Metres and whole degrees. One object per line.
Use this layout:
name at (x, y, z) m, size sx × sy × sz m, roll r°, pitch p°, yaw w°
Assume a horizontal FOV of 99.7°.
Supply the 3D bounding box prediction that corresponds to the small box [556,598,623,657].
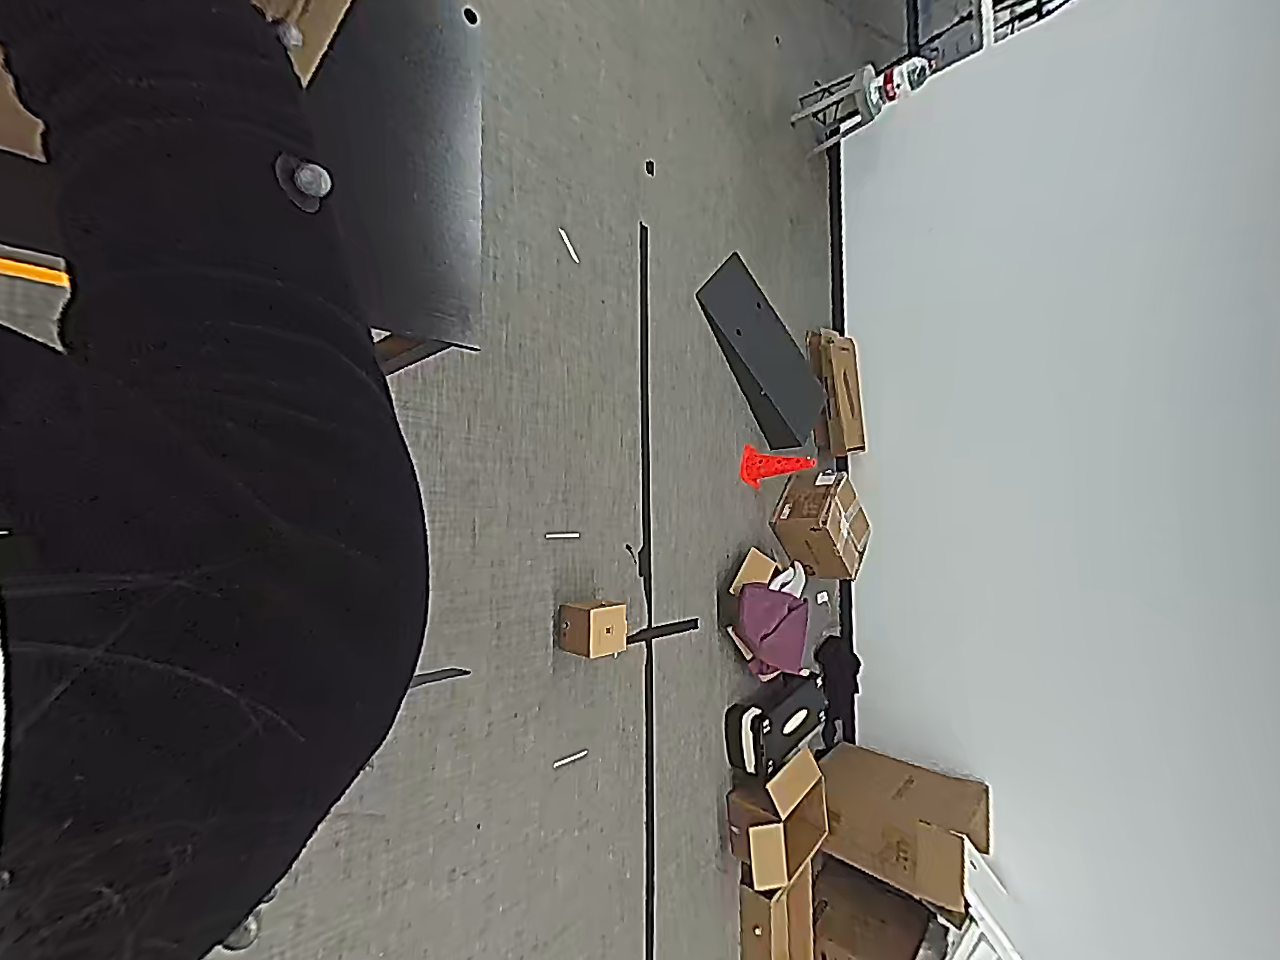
small box at (-0.180, 0.521, 1.930) m, size 0.179 × 0.176 × 0.168 m, roll 4°, pitch 84°, yaw -46°
